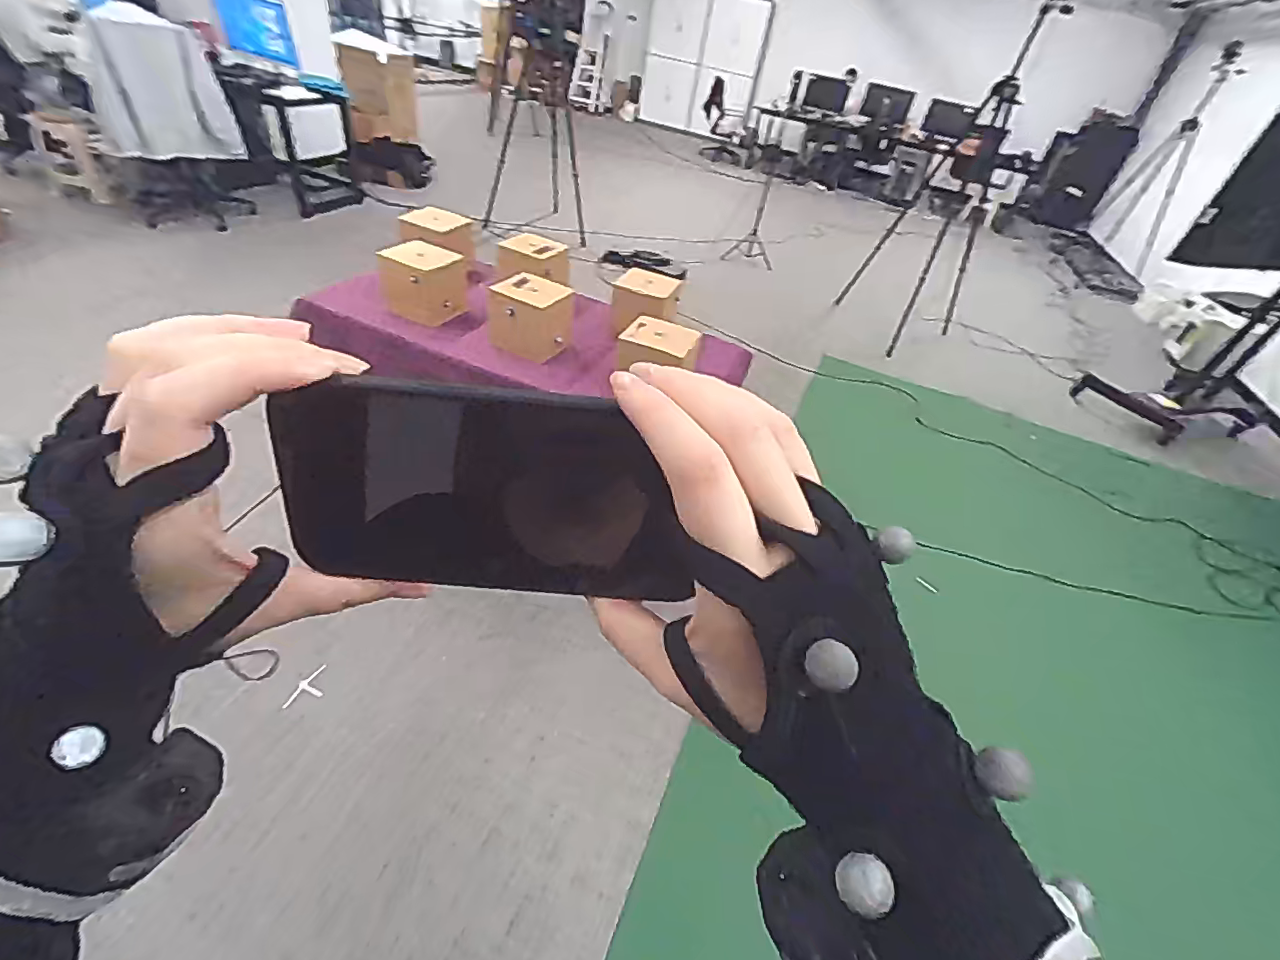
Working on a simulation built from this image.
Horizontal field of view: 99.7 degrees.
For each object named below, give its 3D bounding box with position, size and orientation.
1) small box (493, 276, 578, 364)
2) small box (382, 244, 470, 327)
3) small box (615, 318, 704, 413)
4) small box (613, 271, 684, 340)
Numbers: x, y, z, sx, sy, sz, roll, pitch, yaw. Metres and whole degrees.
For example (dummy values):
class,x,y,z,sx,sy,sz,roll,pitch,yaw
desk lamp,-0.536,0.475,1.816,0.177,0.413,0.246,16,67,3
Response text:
class,x,y,z,sx,sy,sz,roll,pitch,yaw
small box,-0.297,-0.451,1.526,0.179,0.176,0.168,25,42,14
small box,-0.623,-0.570,1.589,0.179,0.176,0.168,24,42,12
small box,0.049,-0.298,1.429,0.179,0.176,0.168,21,41,11
small box,0.022,-0.527,1.687,0.168,0.176,0.179,20,41,10
